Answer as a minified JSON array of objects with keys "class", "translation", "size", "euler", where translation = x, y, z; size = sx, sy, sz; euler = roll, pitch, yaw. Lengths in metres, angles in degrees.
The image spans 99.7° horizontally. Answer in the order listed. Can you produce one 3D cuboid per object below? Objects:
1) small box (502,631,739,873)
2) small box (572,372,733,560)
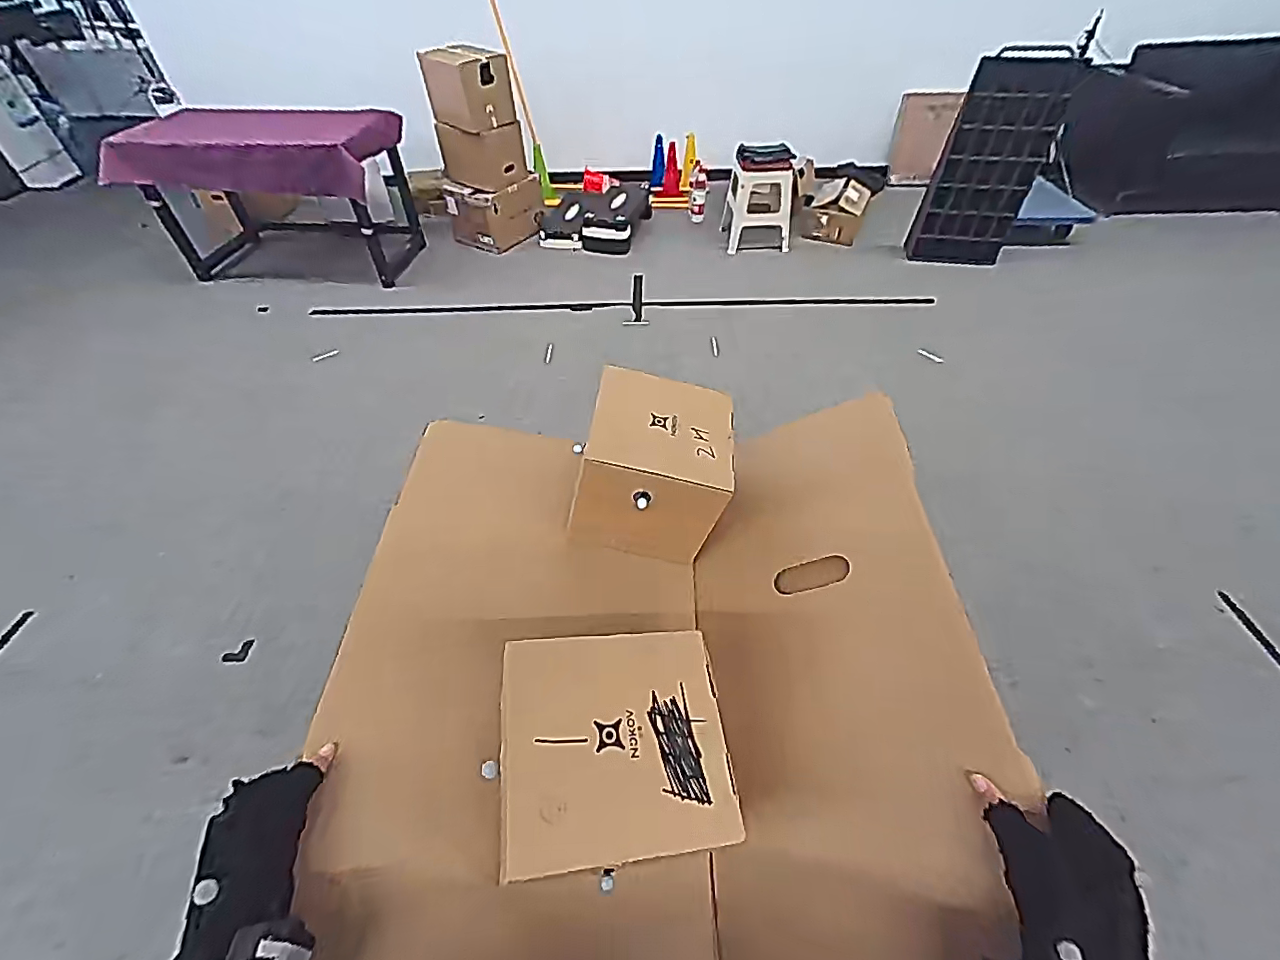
[{"class":"small box","translation":[-0.033,0.252,0.501],"size":[0.179,0.176,0.168],"euler":[1,52,-14]},{"class":"small box","translation":[0.014,-0.013,0.726],"size":[0.179,0.176,0.168],"euler":[14,50,-6]}]
